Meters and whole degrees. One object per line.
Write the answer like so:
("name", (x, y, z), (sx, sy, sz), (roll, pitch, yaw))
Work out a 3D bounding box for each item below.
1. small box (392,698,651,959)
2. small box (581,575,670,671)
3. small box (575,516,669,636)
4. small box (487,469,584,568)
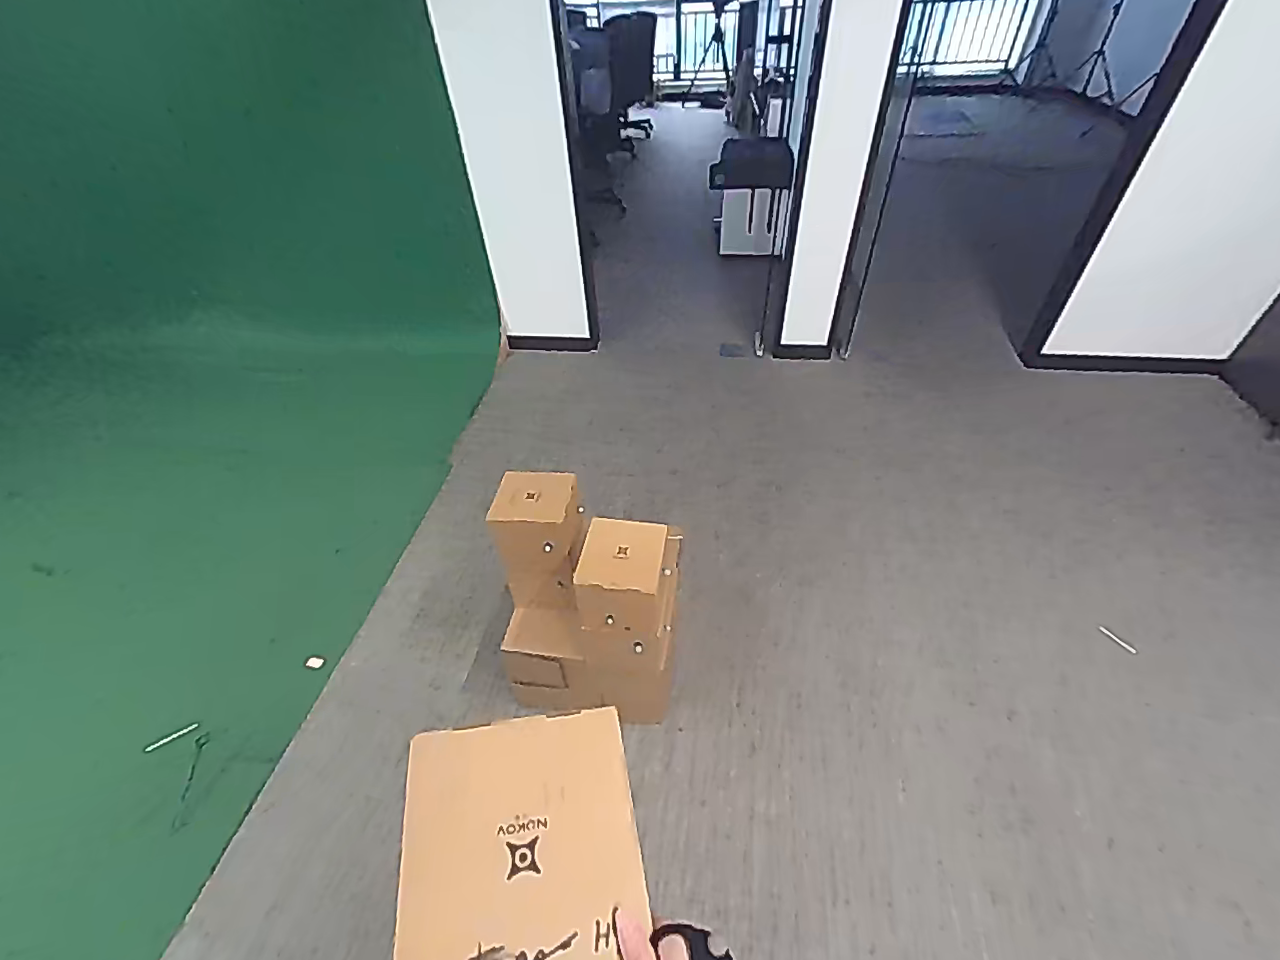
("small box", (-0.098, 0.306, 0.451), (0.168, 0.176, 0.179), (-1, 48, -13))
("small box", (-0.028, 0.325, 1.261), (0.179, 0.176, 0.168), (5, 43, 8))
("small box", (-0.033, 0.204, 1.151), (0.168, 0.176, 0.179), (6, 45, 8))
("small box", (-0.237, 0.094, 1.283), (0.179, 0.176, 0.168), (2, 42, 7))
